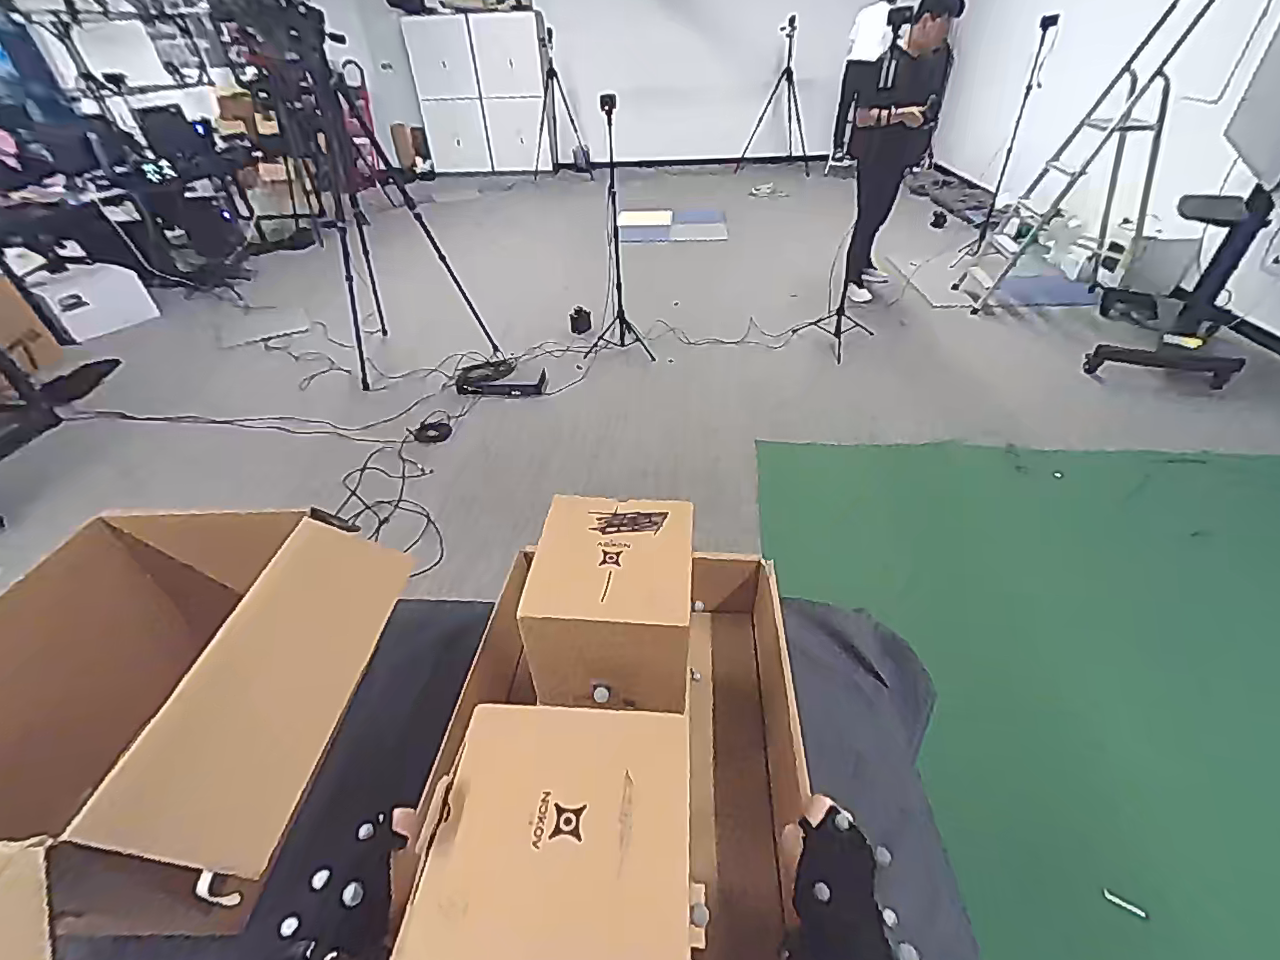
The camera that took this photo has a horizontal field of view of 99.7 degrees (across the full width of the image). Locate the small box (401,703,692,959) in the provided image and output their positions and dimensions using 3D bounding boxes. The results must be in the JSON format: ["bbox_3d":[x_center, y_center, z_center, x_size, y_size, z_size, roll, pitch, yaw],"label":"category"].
[{"bbox_3d":[-0.050,0.299,0.425,0.179,0.176,0.168,2,38,3],"label":"small box"}]

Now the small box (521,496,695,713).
[{"bbox_3d":[-0.026,0.141,0.623,0.168,0.176,0.179,3,40,5],"label":"small box"}]
